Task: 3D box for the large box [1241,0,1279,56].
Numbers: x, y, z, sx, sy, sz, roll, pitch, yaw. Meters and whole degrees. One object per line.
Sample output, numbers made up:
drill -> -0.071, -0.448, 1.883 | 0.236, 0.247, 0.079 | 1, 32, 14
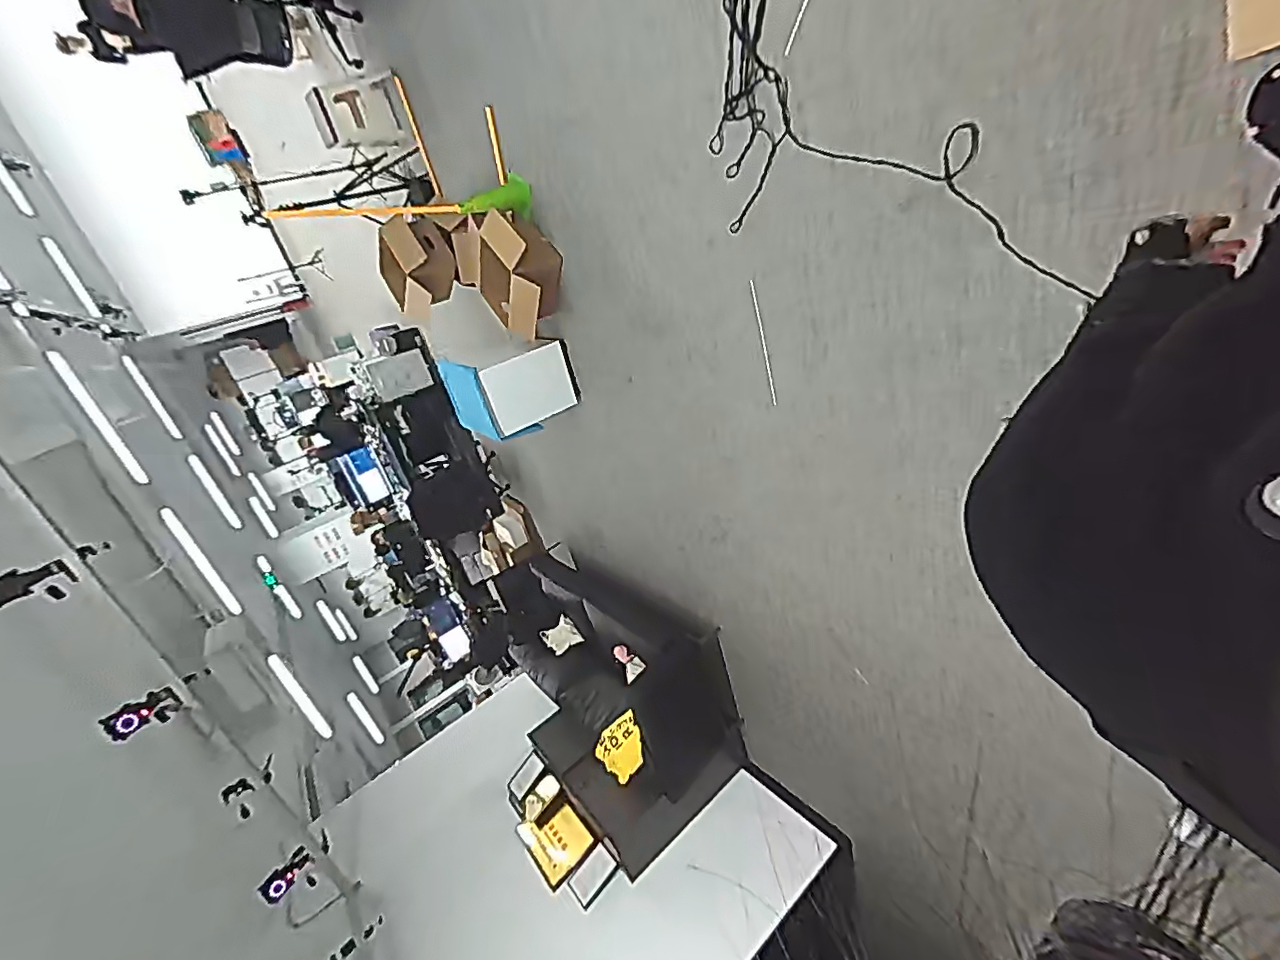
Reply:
large box -> 0.985, -0.757, 0.594 | 0.408, 0.320, 0.320 | 7, 121, 56
